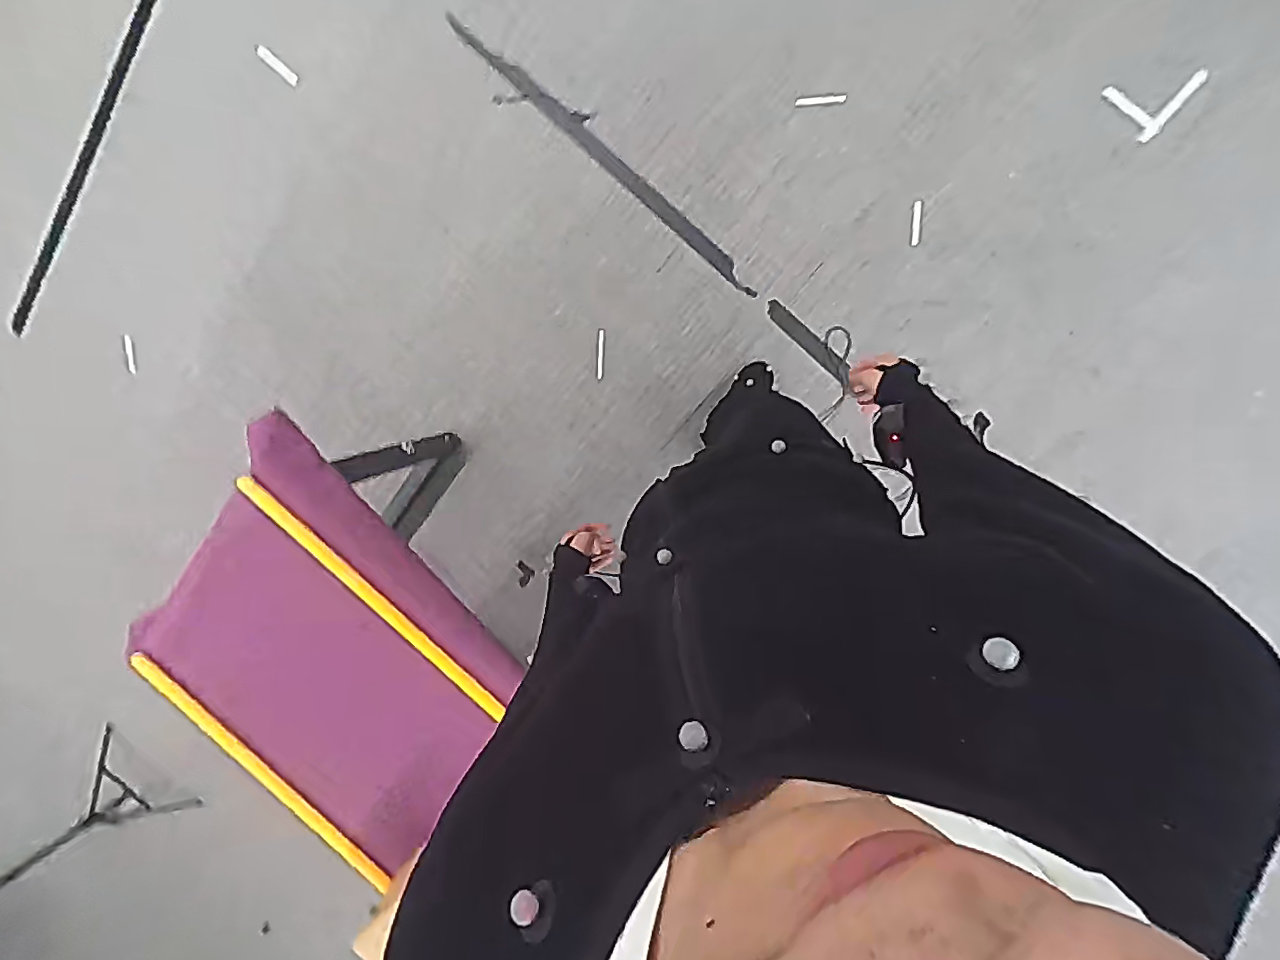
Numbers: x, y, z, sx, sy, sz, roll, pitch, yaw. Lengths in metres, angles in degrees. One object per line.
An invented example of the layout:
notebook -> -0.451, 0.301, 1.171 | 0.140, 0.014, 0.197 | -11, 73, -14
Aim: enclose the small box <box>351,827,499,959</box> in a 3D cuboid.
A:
small box -> -0.409, 0.839, 1.060 | 0.168, 0.176, 0.179 | 42, 103, -1
